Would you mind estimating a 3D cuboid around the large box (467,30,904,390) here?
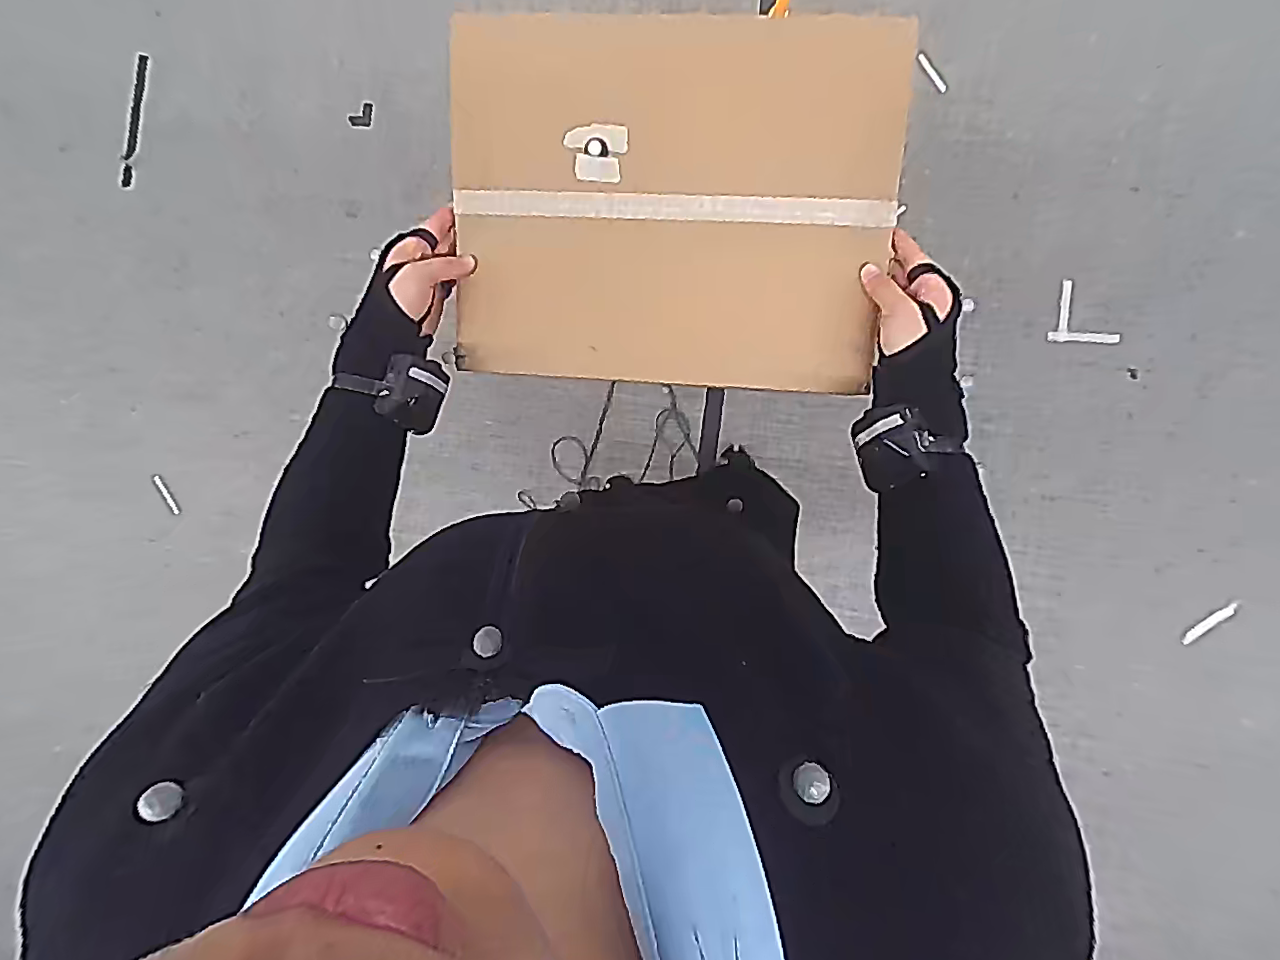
[{"bbox_3d":[0.046,-0.276,0.659,0.408,0.320,0.320,4,100,5],"label":"large box"}]
